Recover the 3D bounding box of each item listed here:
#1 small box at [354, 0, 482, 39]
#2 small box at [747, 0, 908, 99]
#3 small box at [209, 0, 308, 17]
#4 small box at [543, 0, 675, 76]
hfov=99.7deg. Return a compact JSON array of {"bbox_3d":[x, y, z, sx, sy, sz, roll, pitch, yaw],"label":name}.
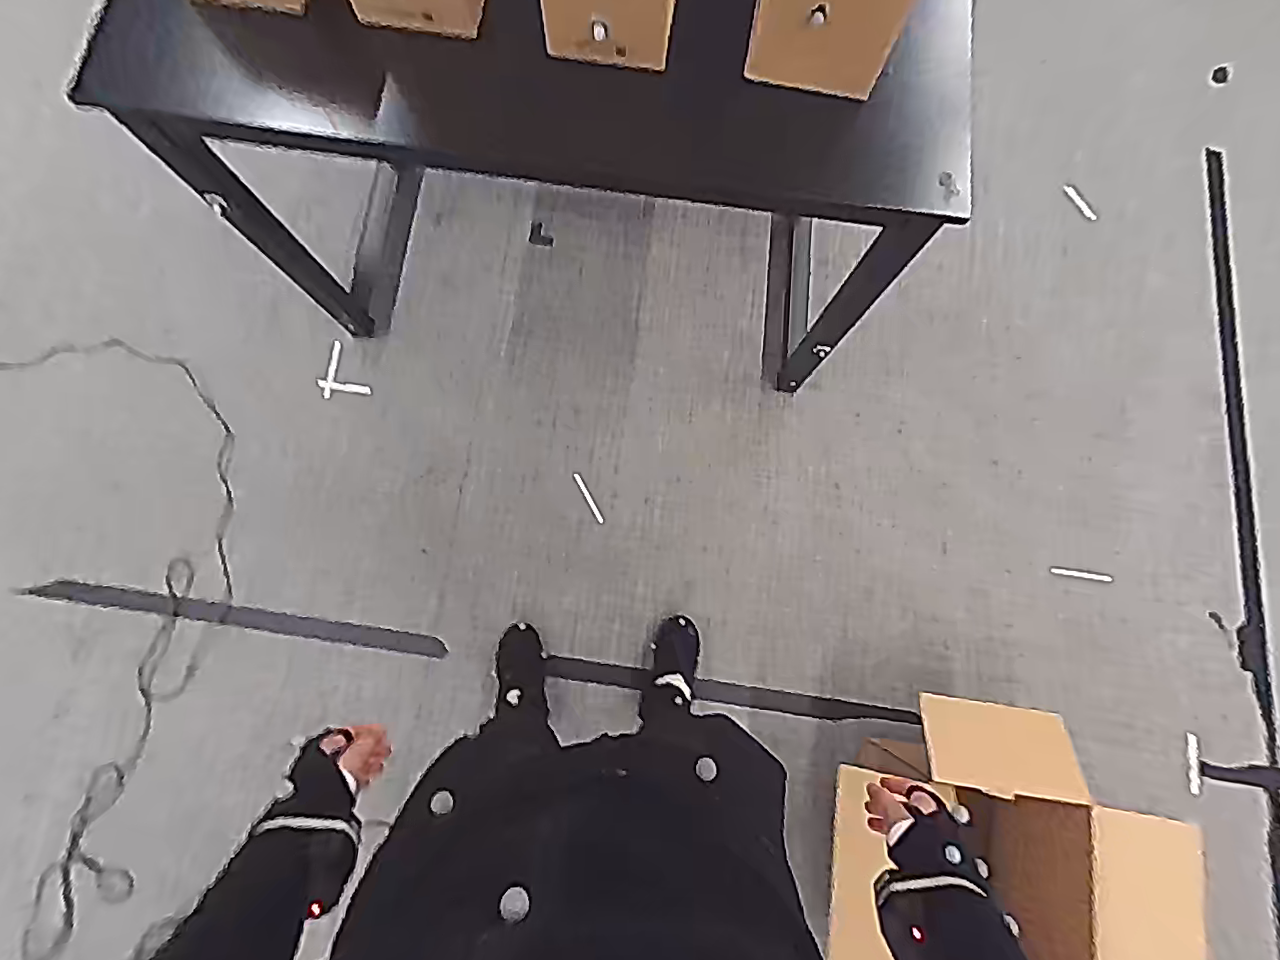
[{"bbox_3d":[-0.296,-0.717,0.691,0.168,0.176,0.179,8,79,-1],"label":"small box"},{"bbox_3d":[0.244,-0.633,0.693,0.179,0.176,0.168,10,79,1],"label":"small box"},{"bbox_3d":[-0.533,-0.748,0.691,0.168,0.176,0.179,7,78,-2],"label":"small box"},{"bbox_3d":[-0.034,-0.673,0.692,0.168,0.176,0.179,8,79,0],"label":"small box"}]
